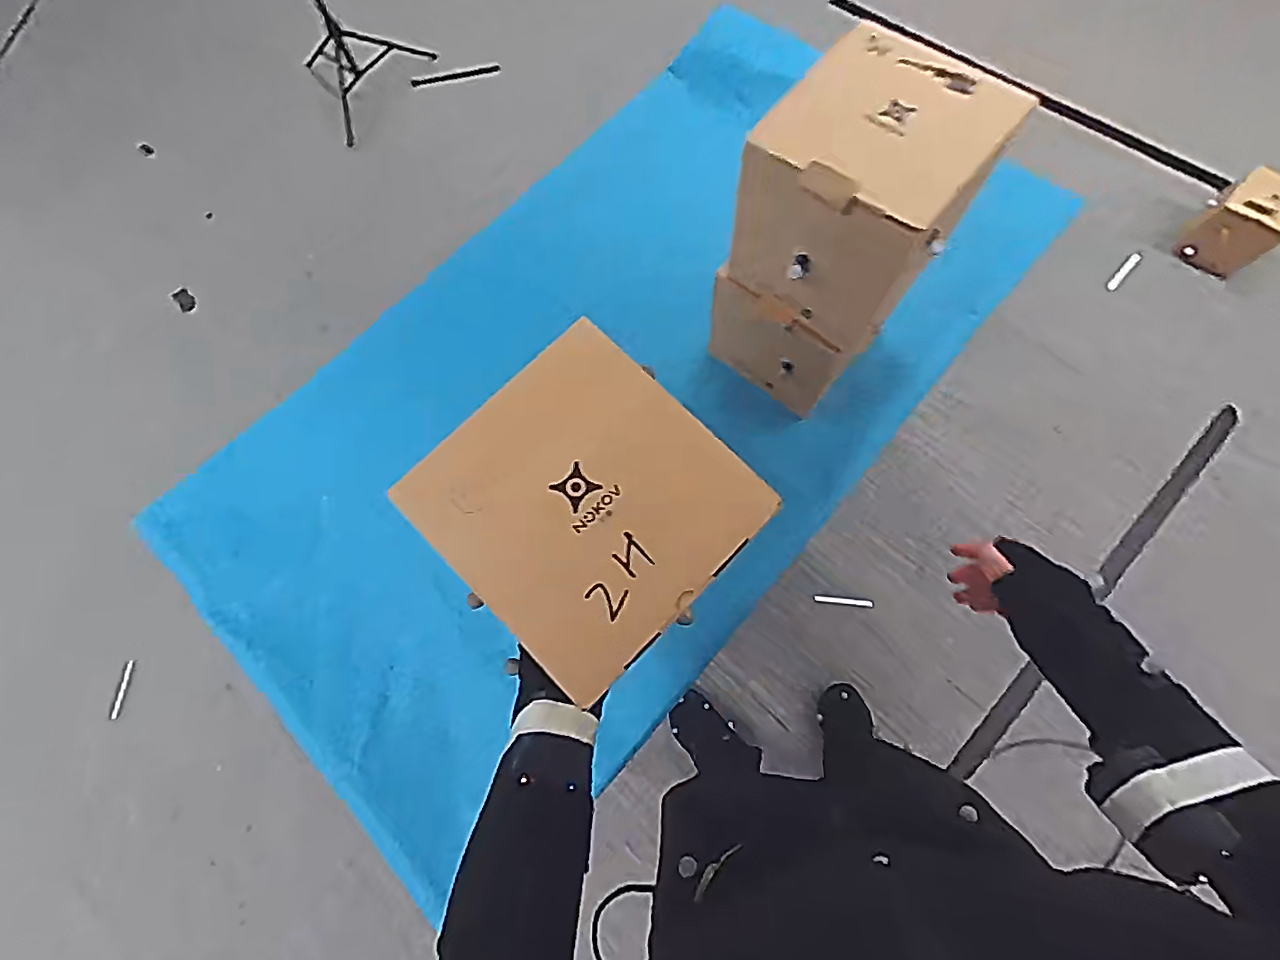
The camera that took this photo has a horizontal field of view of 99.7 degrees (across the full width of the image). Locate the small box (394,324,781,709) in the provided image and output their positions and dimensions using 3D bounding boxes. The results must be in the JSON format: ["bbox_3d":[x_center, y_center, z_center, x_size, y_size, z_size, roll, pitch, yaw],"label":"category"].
[{"bbox_3d":[-0.032,0.029,0.398,0.168,0.176,0.179,-41,83,-6],"label":"small box"}]

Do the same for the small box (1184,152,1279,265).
[{"bbox_3d":[1.630,-0.717,1.442,0.168,0.176,0.179,39,79,15],"label":"small box"}]

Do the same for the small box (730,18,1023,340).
[{"bbox_3d":[0.199,-0.268,0.511,0.168,0.176,0.179,36,78,15],"label":"small box"}]

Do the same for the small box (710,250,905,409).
[{"bbox_3d":[0.203,-0.219,0.666,0.168,0.176,0.179,40,80,15],"label":"small box"}]
